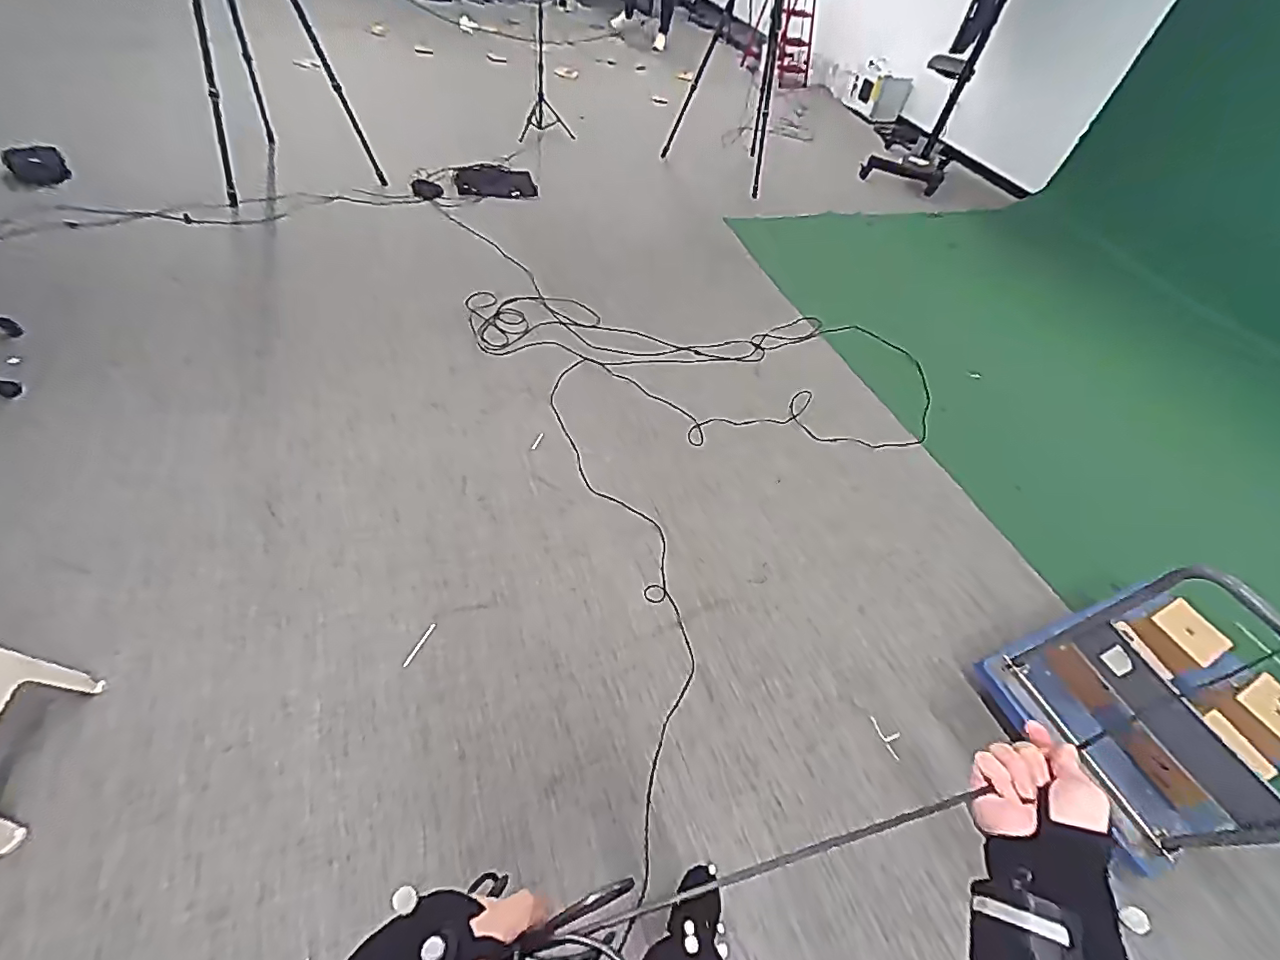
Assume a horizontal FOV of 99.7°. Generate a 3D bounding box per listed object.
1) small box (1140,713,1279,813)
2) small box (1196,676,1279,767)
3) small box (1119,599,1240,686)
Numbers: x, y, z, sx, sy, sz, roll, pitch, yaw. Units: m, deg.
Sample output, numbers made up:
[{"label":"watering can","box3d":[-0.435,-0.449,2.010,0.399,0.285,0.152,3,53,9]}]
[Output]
[{"label":"small box","box3d":[1.477,0.737,1.407,0.179,0.176,0.168,-13,54,-18]},{"label":"small box","box3d":[1.724,0.676,1.497,0.179,0.176,0.168,-18,55,-21]},{"label":"small box","box3d":[1.611,0.494,1.630,0.179,0.176,0.168,-17,56,-22]}]
